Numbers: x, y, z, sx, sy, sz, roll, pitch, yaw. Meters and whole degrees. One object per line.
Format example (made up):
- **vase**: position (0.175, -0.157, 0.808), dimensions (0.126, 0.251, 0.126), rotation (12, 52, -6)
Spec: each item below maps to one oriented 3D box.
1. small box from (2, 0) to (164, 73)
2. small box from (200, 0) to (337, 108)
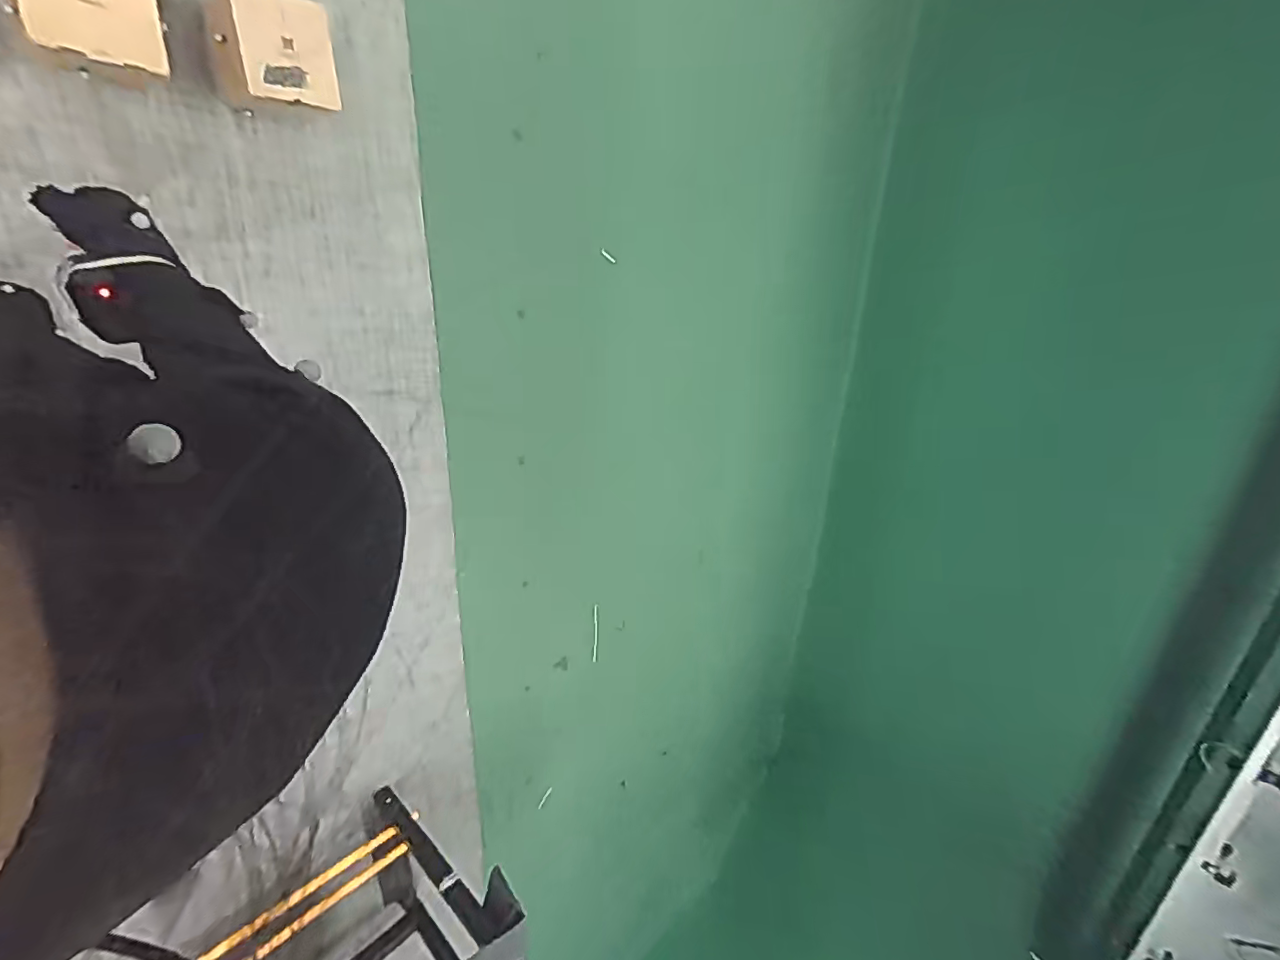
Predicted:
- **small box**: position (-0.897, -0.784, 0.857), dimensions (0.168, 0.176, 0.179), rotation (-18, 120, -46)
- **small box**: position (-0.718, -0.846, 1.048), dimensions (0.168, 0.176, 0.179), rotation (-22, 122, -45)
